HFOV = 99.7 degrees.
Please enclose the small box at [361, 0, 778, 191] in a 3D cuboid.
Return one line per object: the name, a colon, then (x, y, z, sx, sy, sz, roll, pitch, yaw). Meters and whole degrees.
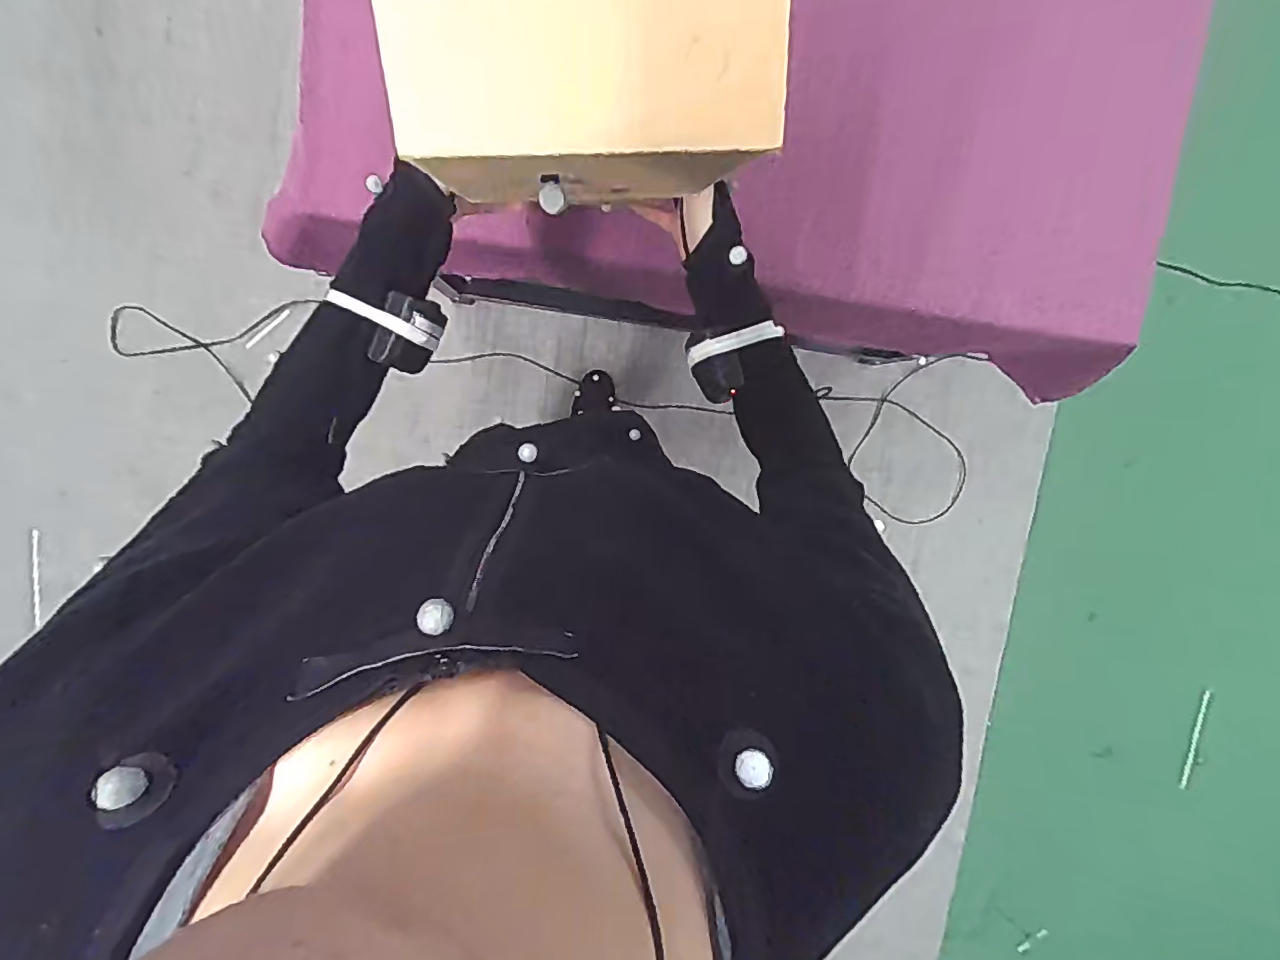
small box: (-0.033, -0.252, 0.273, 0.168, 0.176, 0.179, -4, 110, -4)
